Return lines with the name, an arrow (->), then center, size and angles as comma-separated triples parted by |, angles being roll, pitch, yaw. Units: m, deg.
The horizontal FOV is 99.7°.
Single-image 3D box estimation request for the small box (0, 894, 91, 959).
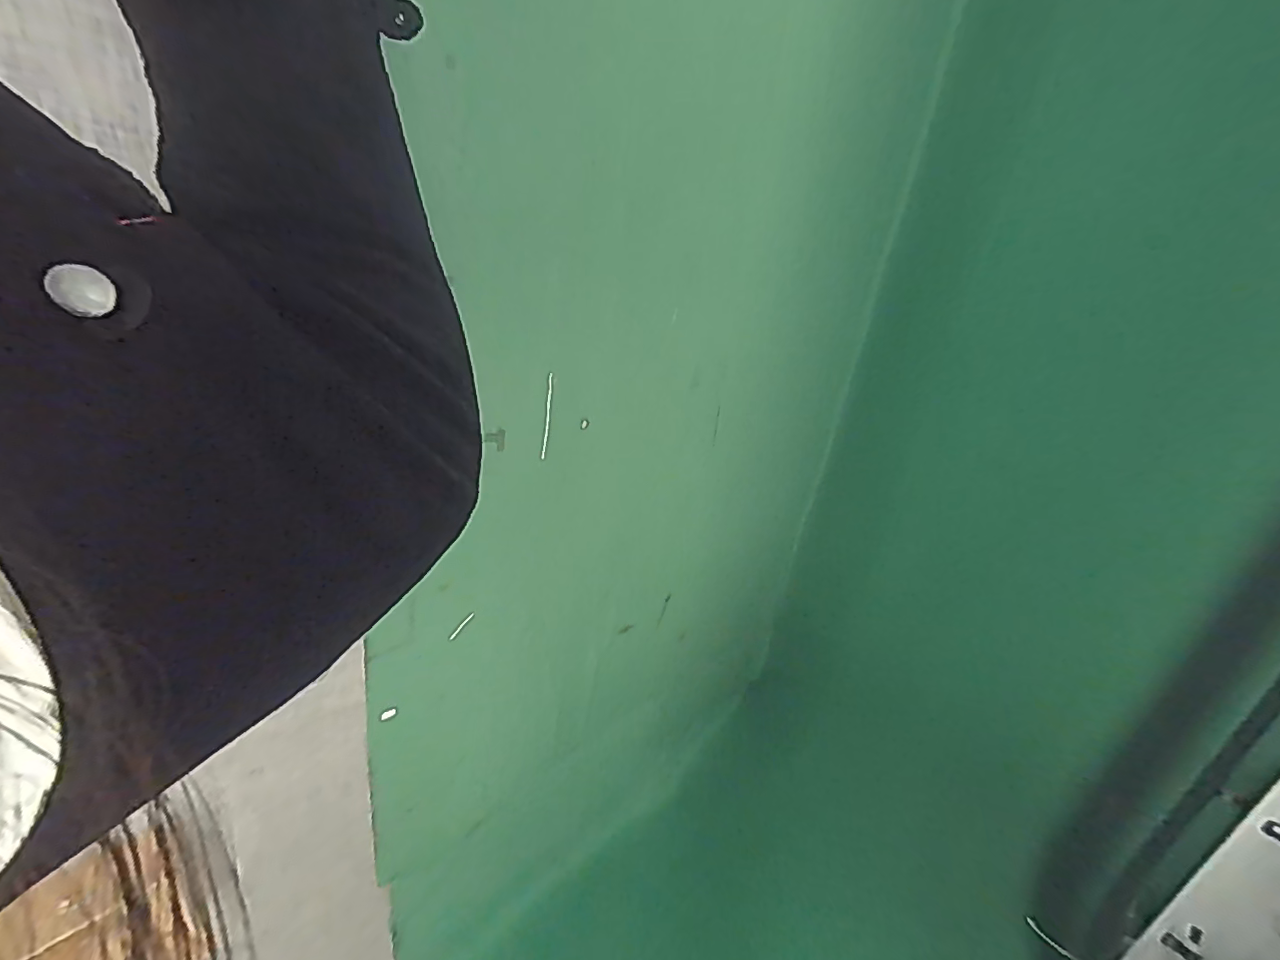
small box -> -1.435, 1.145, 1.274 | 0.179, 0.176, 0.168 | -19, 127, -44
